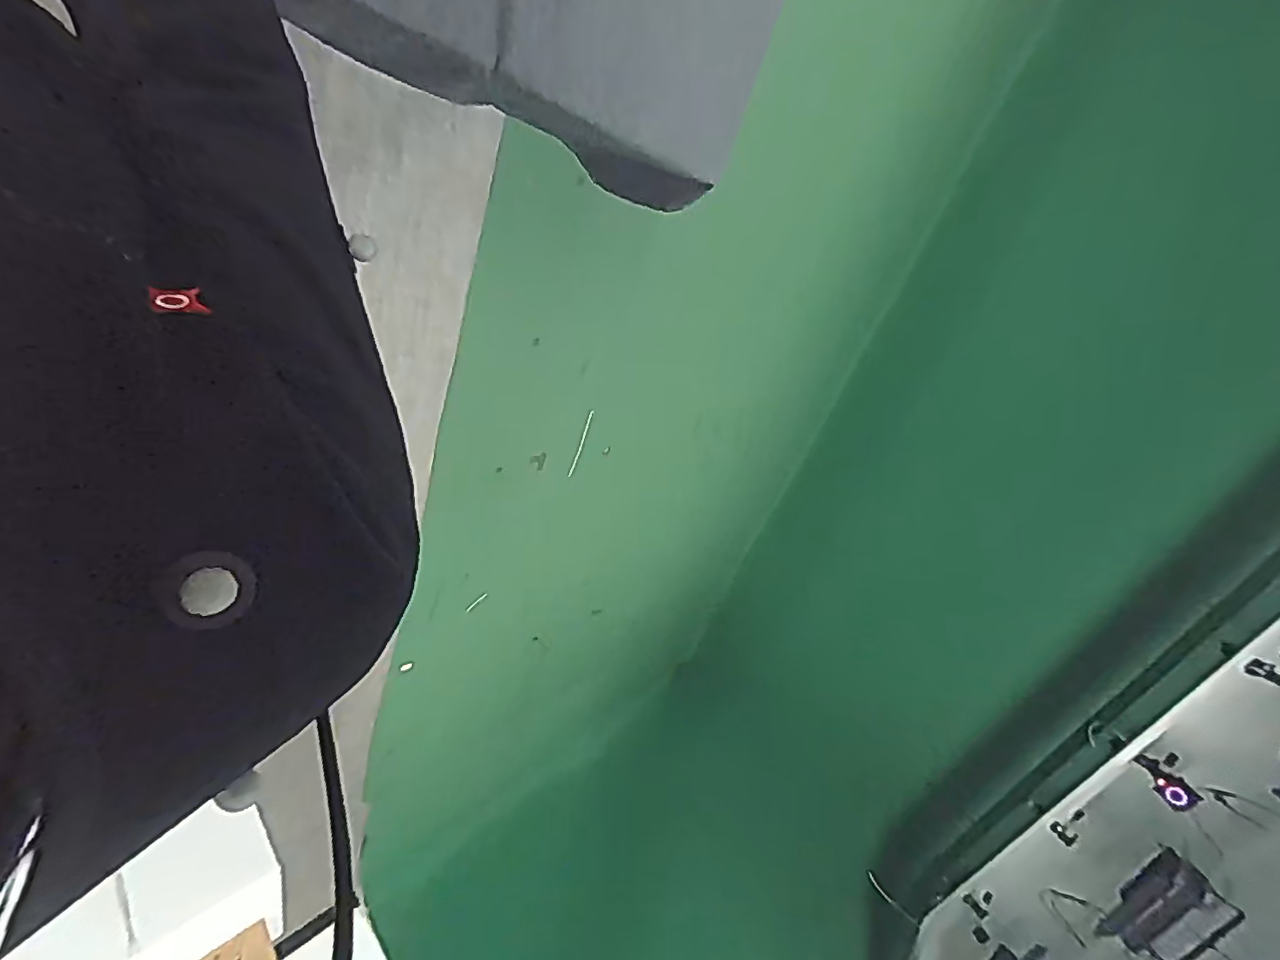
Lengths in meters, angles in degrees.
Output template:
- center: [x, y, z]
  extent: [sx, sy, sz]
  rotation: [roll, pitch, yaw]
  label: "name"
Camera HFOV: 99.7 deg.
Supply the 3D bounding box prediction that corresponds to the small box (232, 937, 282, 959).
- center: [-0.978, 1.302, 1.344]
  extent: [0.168, 0.176, 0.179]
  rotation: [-15, 132, -45]
  label: "small box"
